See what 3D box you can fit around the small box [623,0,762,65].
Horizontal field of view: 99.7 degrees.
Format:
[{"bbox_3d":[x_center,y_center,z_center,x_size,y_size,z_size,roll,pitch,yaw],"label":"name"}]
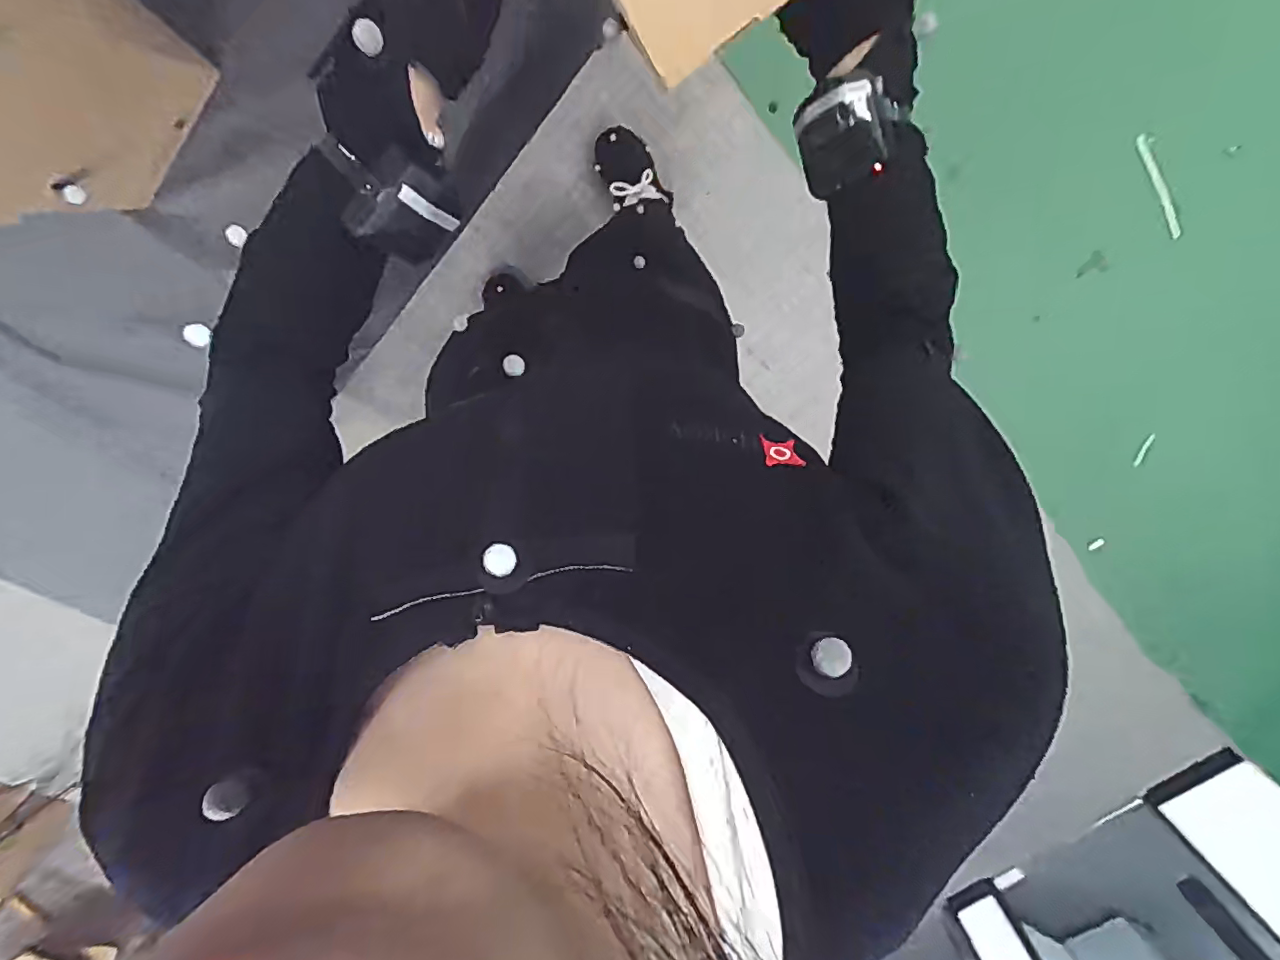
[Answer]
[{"bbox_3d":[0.030,-0.379,0.291,0.168,0.176,0.179,-29,134,20],"label":"small box"}]
